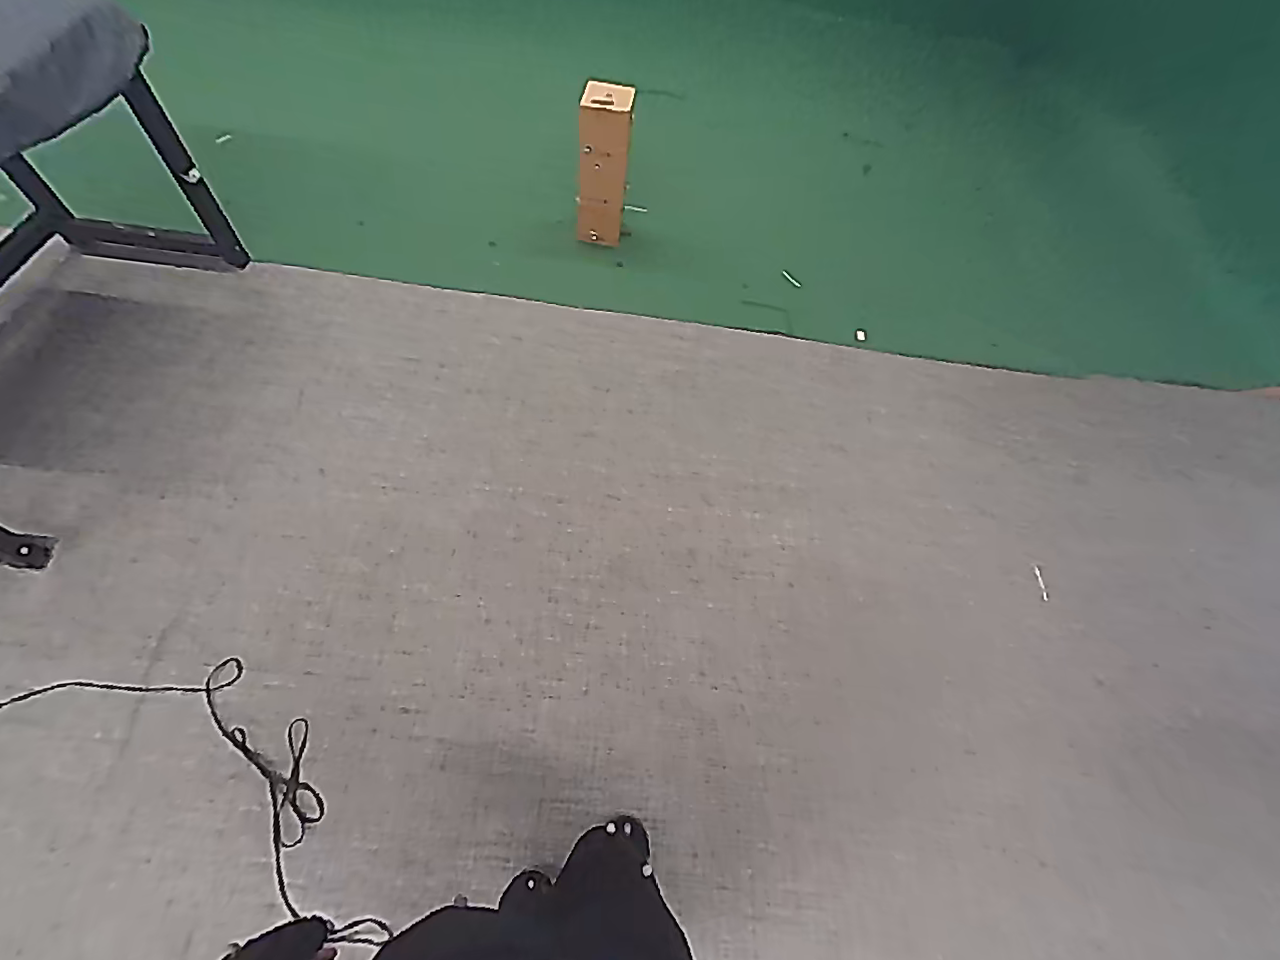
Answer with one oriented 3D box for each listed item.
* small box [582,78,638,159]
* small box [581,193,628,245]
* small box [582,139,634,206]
[{"bbox_3d":[-0.106,-1.247,1.873,0.168,0.176,0.179,9,58,-2],"label":"small box"},{"bbox_3d":[-0.142,-1.072,2.149,0.168,0.176,0.179,8,60,-2],"label":"small box"},{"bbox_3d":[-0.121,-1.158,2.011,0.168,0.176,0.179,9,58,-1],"label":"small box"}]
